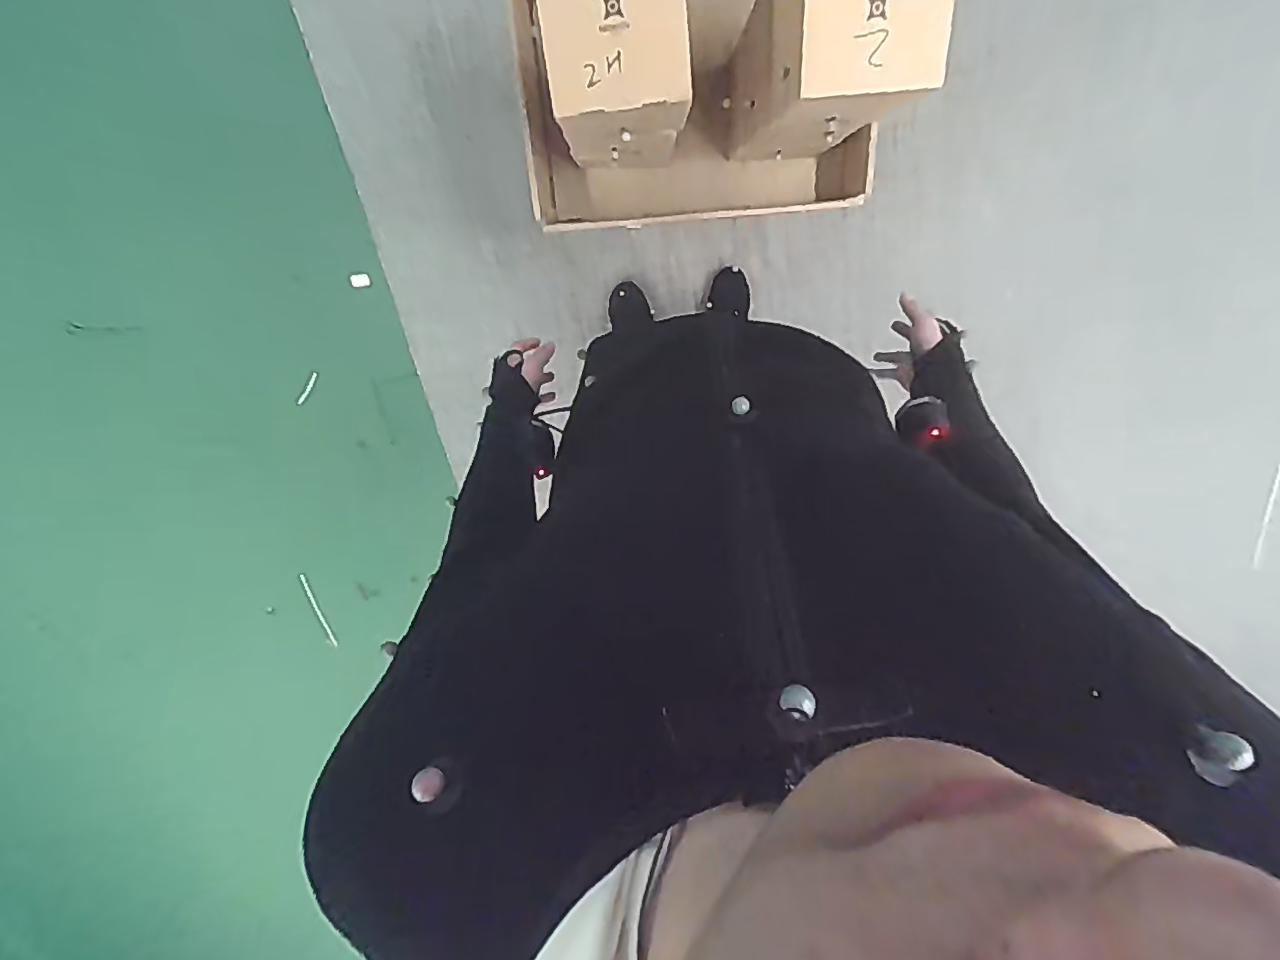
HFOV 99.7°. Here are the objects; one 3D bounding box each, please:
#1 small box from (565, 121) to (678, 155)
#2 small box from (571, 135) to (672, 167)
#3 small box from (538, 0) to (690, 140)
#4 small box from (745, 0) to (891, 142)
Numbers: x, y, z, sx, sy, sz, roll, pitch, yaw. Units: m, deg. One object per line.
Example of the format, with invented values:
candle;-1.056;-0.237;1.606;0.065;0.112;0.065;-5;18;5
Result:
small box;-0.029;-0.612;0.823;0.168;0.176;0.179;-2;113;2
small box;-0.029;-0.671;0.976;0.179;0.176;0.168;-1;113;1
small box;-0.029;-0.548;0.672;0.168;0.176;0.179;-5;113;4
small box;0.254;-0.622;0.809;0.168;0.176;0.179;-2;111;1
